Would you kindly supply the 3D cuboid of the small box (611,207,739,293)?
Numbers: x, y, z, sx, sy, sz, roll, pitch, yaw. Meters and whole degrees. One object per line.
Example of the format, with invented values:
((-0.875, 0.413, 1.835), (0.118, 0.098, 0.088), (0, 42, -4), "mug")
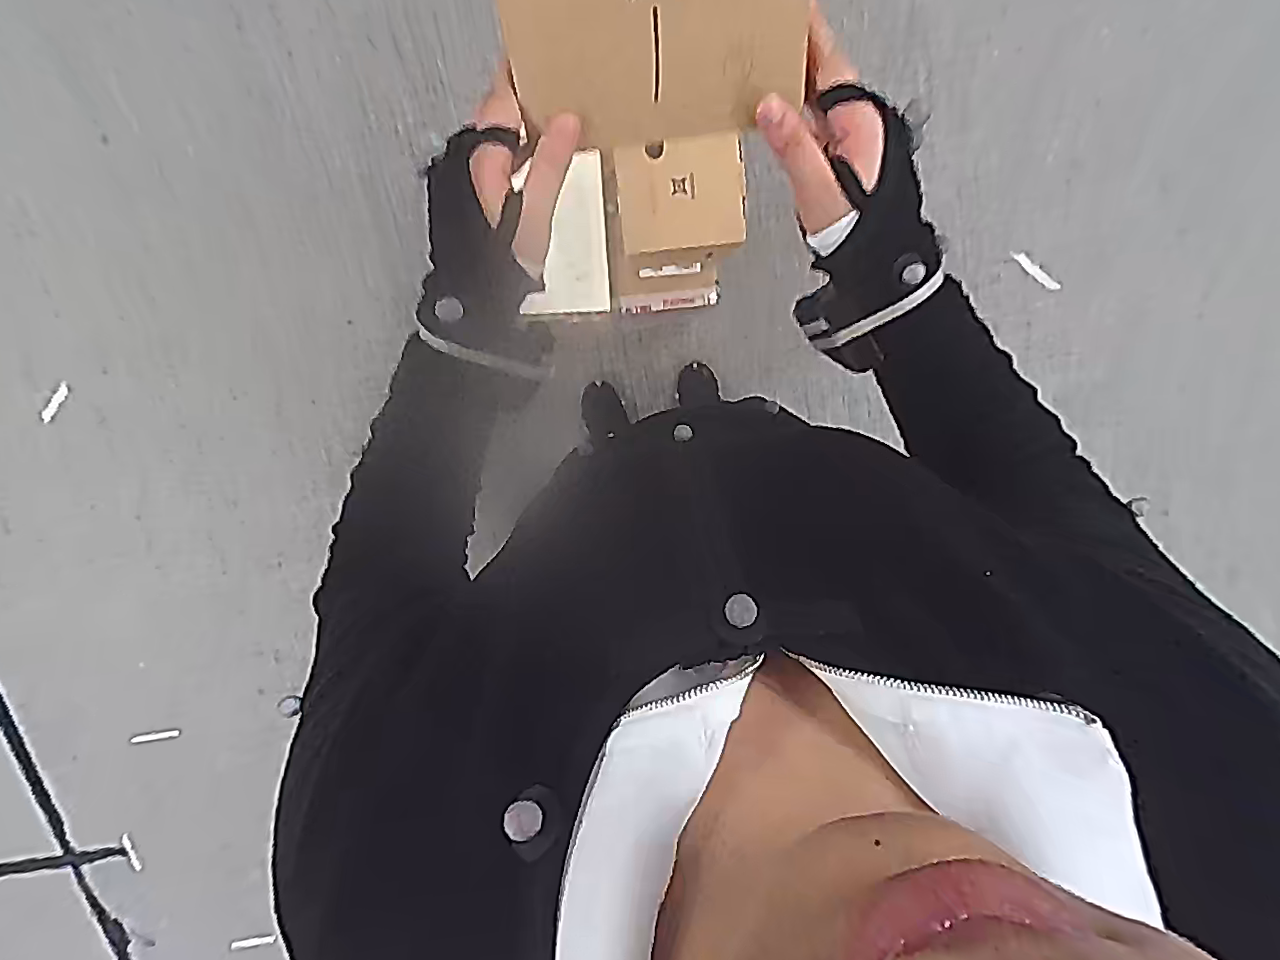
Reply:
((0.047, -0.396, 0.851), (0.179, 0.176, 0.168), (-7, 103, -1), "small box")

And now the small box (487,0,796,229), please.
((0.001, -0.285, 0.358), (0.168, 0.176, 0.179), (-6, 127, 3), "small box")
